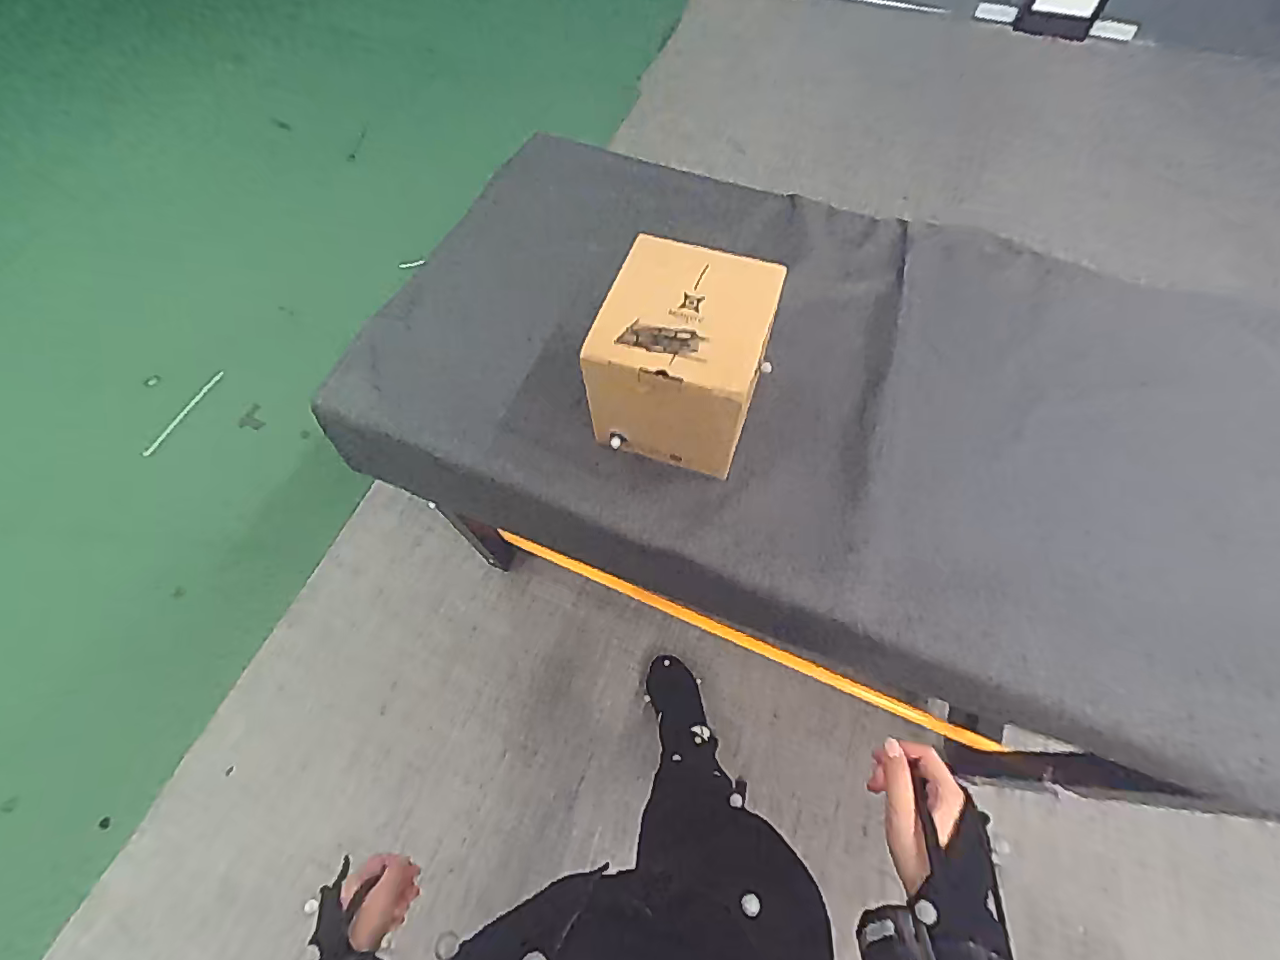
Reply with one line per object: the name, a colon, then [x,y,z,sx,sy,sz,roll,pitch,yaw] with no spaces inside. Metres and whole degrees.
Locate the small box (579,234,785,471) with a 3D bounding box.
small box: [0.049,-0.134,0.607,0.168,0.176,0.179,17,65,10]
